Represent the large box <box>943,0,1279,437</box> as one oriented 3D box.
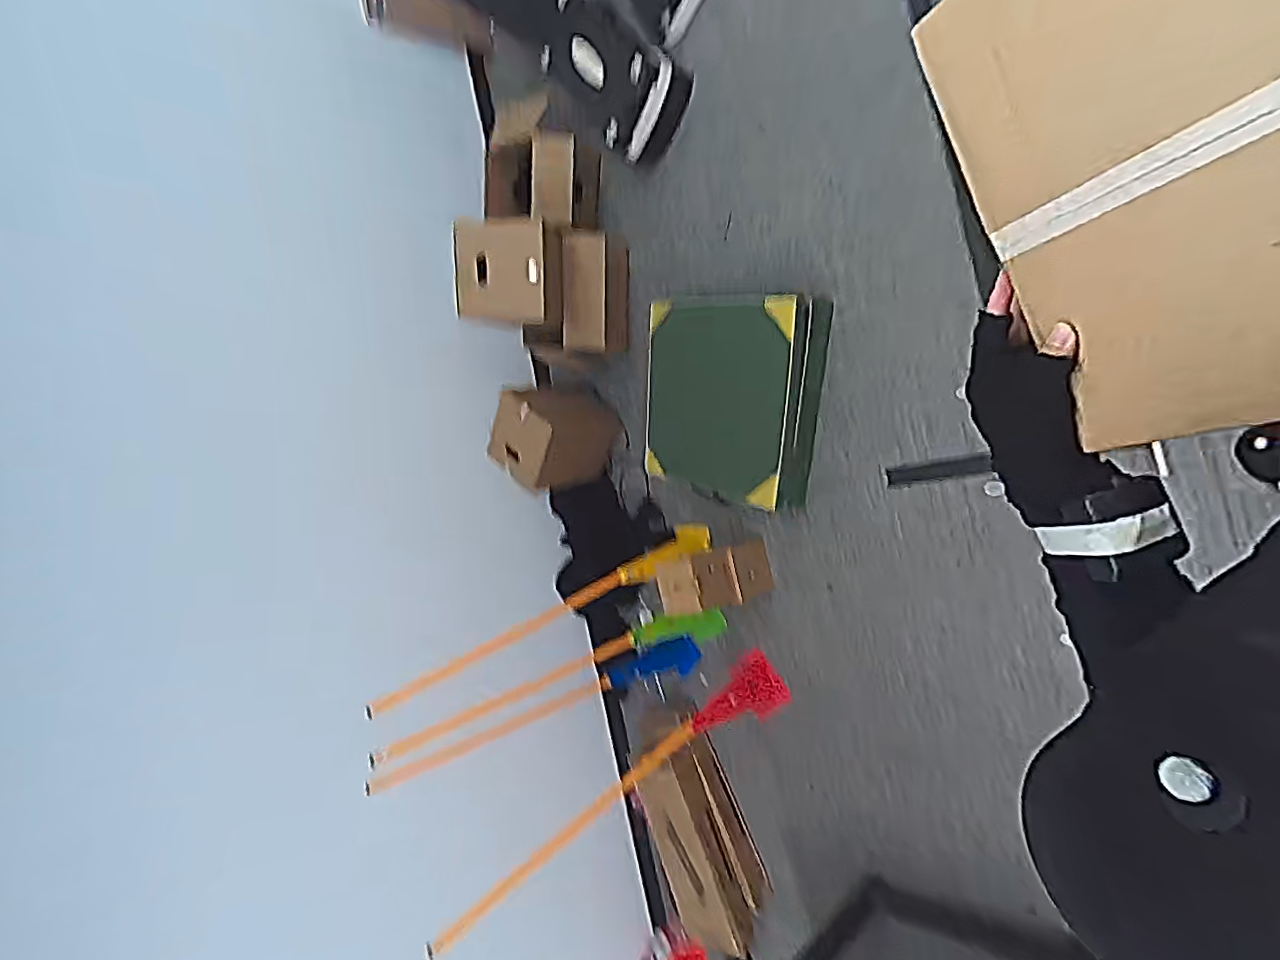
[{"bbox_3d":[0.471,-0.255,0.278,0.408,0.320,0.320,-17,99,60],"label":"large box"}]
